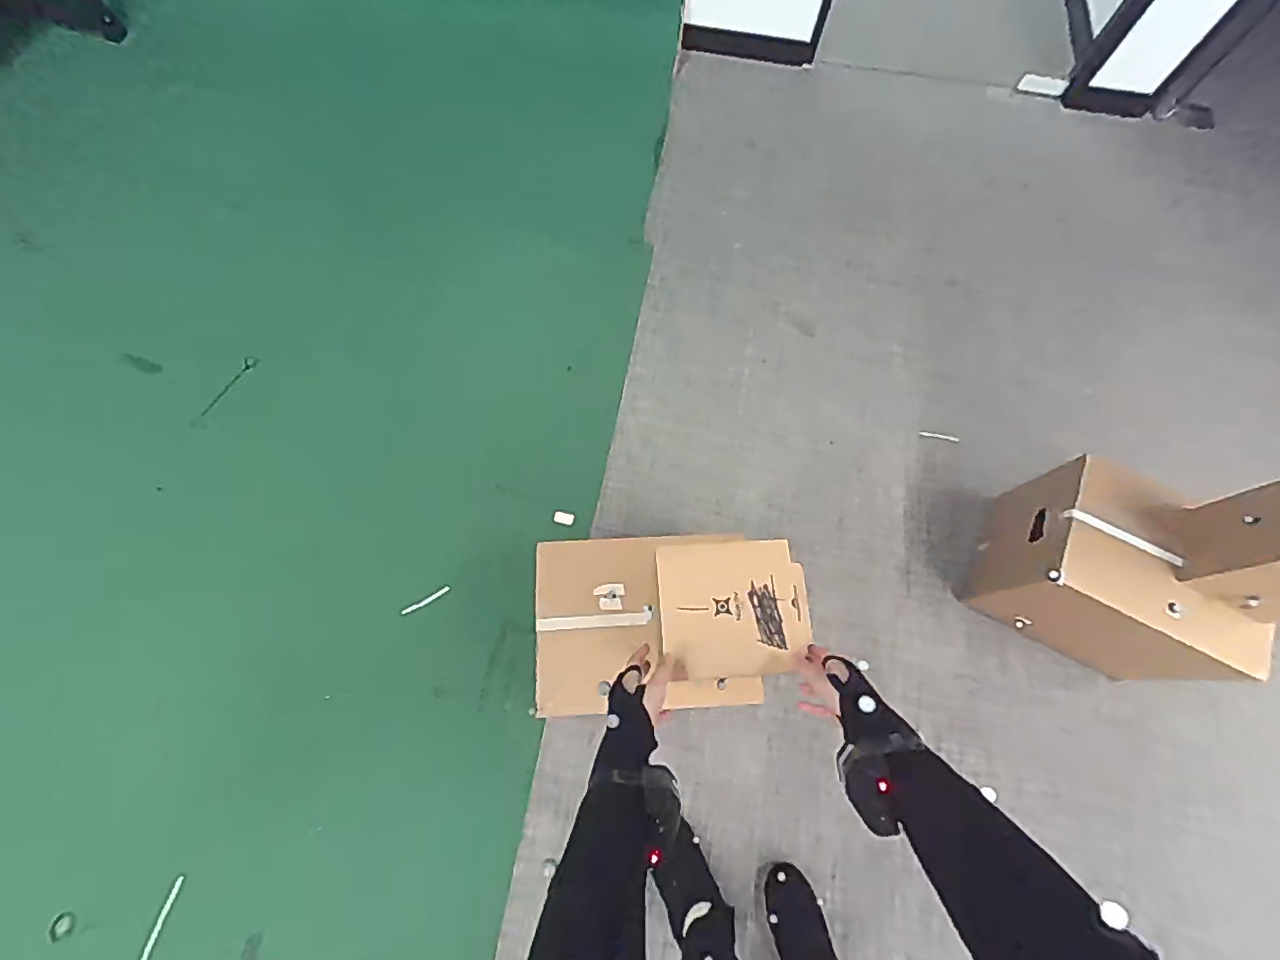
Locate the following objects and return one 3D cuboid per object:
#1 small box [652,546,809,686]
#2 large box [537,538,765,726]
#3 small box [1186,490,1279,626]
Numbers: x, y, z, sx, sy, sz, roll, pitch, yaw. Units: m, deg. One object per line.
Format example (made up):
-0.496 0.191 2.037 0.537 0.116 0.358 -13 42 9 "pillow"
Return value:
0.111 0.190 0.743 0.179 0.176 0.168 -3 70 -2 "small box"
0.012 0.320 1.129 0.408 0.320 0.320 -3 69 -2 "large box"
1.156 0.142 0.979 0.168 0.176 0.179 28 69 9 "small box"
